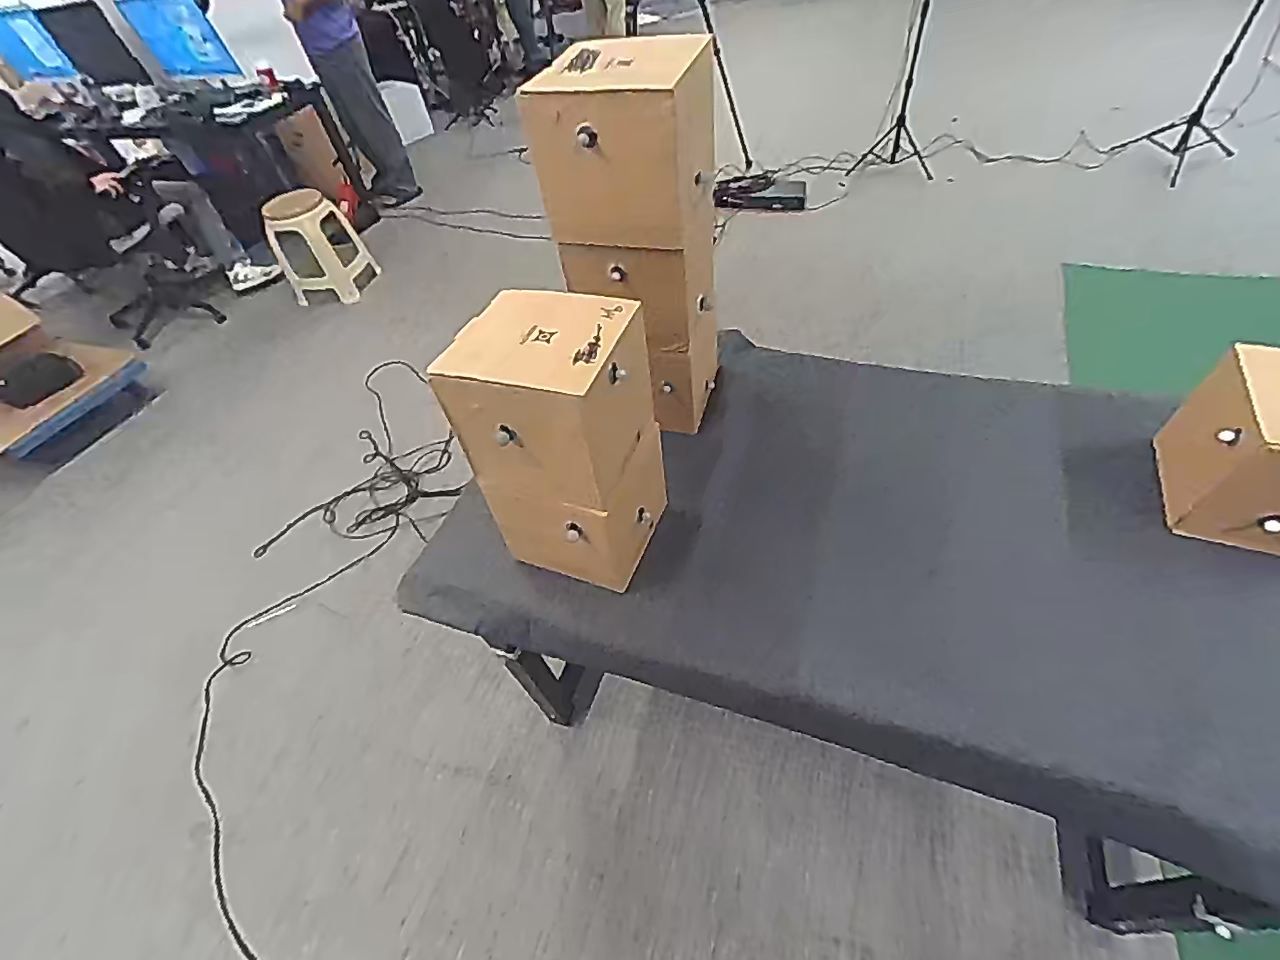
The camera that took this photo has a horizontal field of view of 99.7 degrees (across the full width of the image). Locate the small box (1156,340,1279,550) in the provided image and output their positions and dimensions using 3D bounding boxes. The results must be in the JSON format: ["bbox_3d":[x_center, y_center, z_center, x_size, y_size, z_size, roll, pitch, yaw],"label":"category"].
[{"bbox_3d":[0.767,-0.037,0.644,0.168,0.176,0.179,14,56,20],"label":"small box"}]

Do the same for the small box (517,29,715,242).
[{"bbox_3d":[-0.015,-0.405,0.645,0.179,0.176,0.168,11,55,16],"label":"small box"}]

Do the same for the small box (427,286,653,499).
[{"bbox_3d":[-0.096,-0.098,0.612,0.179,0.176,0.168,10,51,17],"label":"small box"}]

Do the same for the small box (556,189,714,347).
[{"bbox_3d":[0.004,-0.311,0.779,0.179,0.176,0.168,10,55,15],"label":"small box"}]

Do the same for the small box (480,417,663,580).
[{"bbox_3d":[-0.077,0.013,0.731,0.179,0.176,0.168,14,51,19],"label":"small box"}]
